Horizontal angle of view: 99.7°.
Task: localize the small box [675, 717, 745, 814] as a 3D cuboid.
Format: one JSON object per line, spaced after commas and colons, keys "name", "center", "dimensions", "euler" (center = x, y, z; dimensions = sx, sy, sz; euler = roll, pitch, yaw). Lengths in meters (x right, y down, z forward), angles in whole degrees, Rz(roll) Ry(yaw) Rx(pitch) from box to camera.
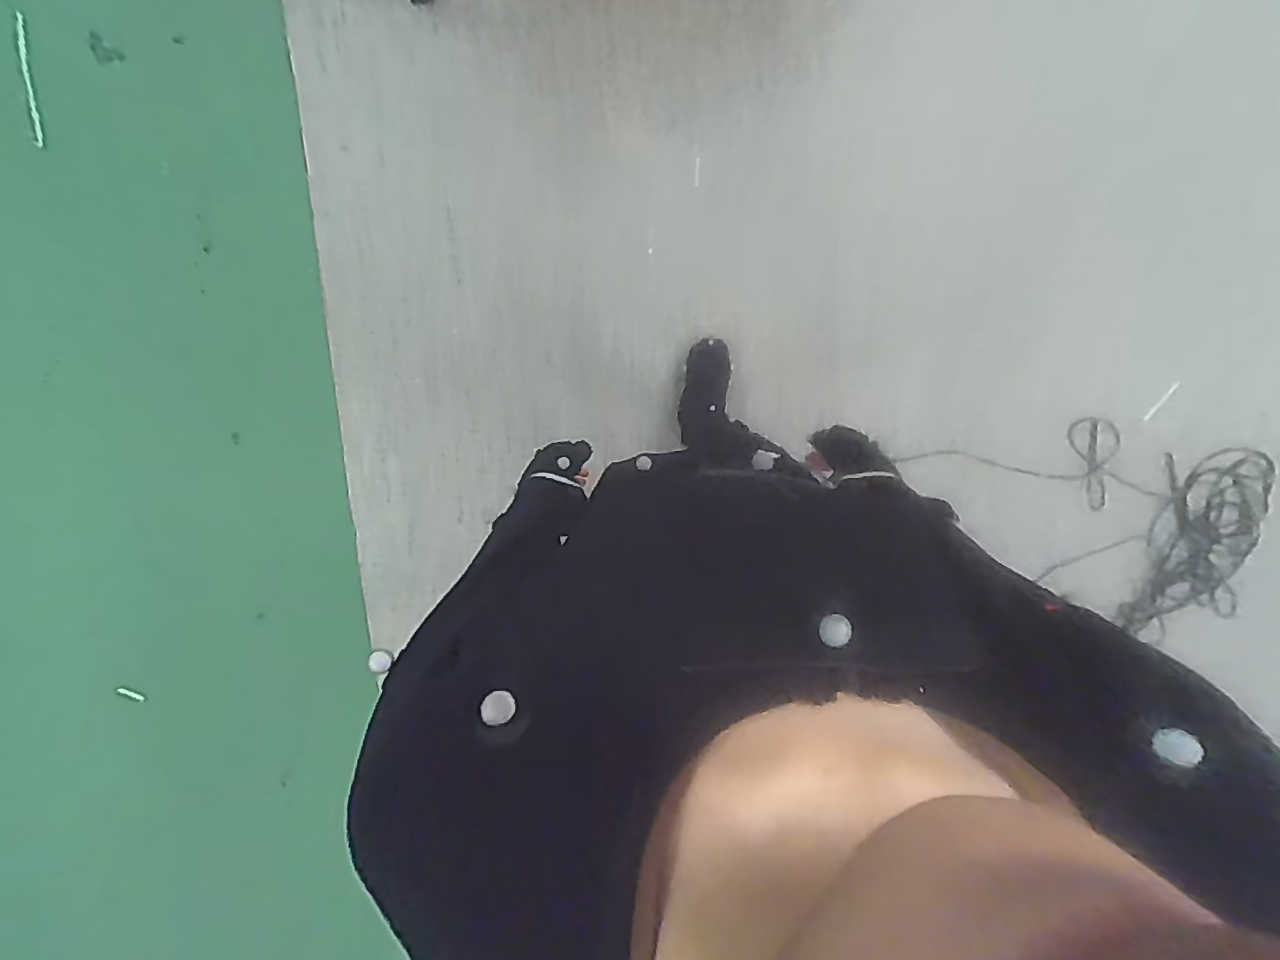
{"name": "small box", "center": [0.183, 0.755, 1.451], "dimensions": [0.168, 0.176, 0.179], "euler": [-3, 95, 1]}
